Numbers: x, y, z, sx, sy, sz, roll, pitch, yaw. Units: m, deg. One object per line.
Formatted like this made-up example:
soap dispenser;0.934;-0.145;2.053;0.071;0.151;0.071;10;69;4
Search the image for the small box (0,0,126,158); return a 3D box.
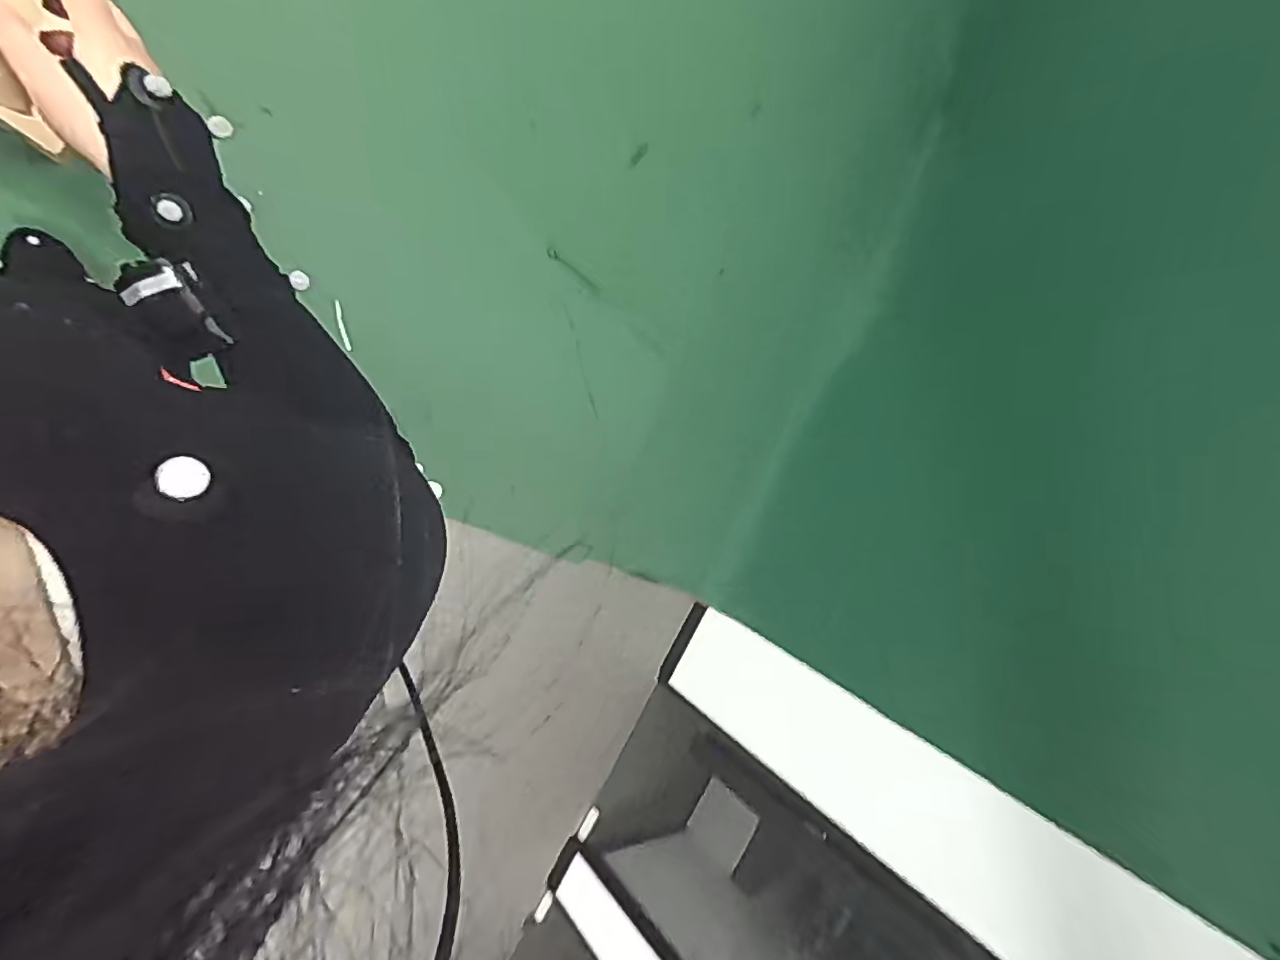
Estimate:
small box;-0.950;-0.628;0.835;0.179;0.176;0.168;-56;139;-9
